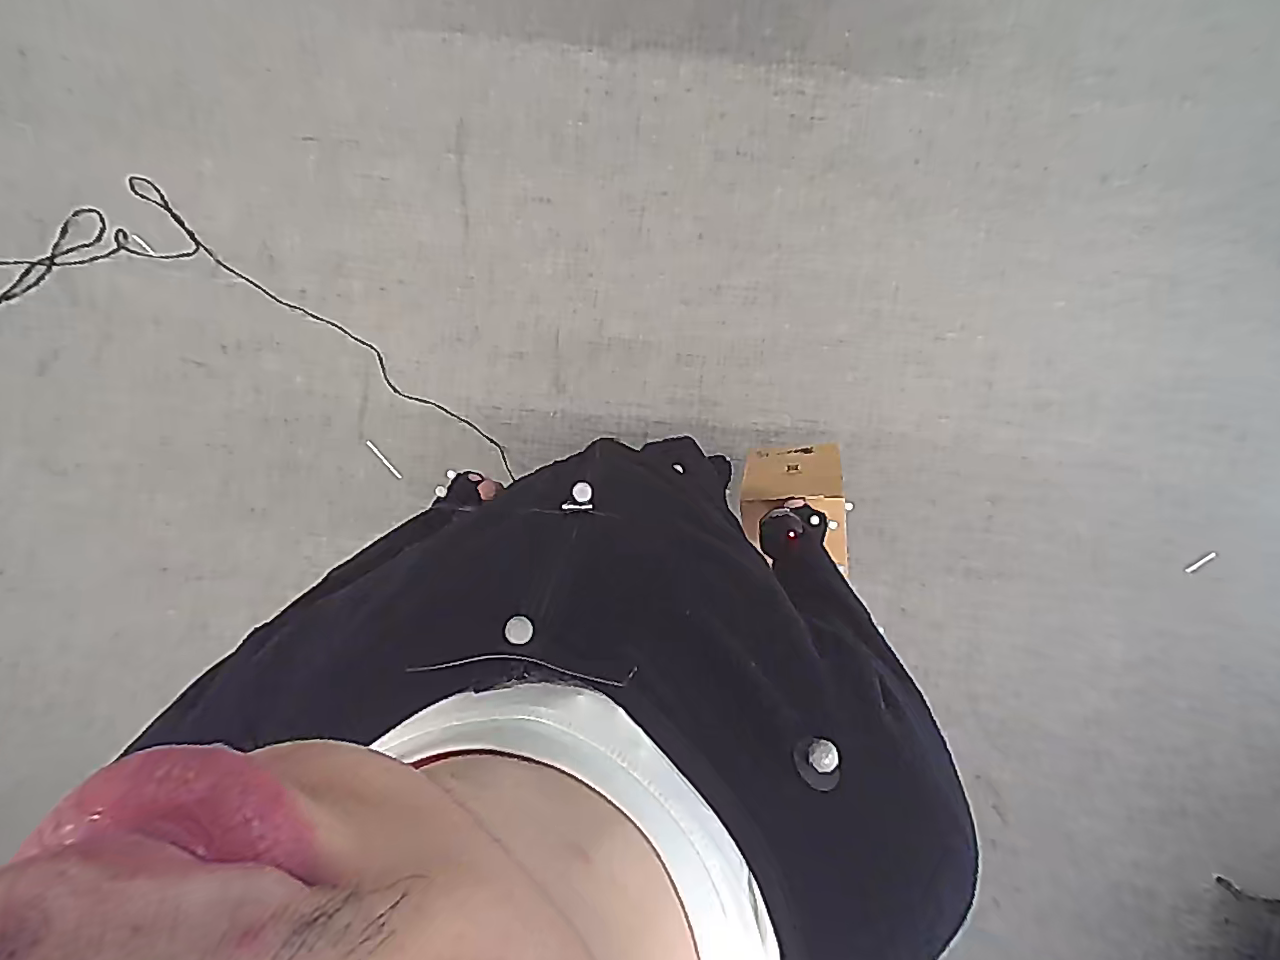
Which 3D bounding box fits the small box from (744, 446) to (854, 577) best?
[{"bbox_3d":[0.289,0.061,0.974,0.168,0.179,0.176,-5,122,19],"label":"small box"}]
